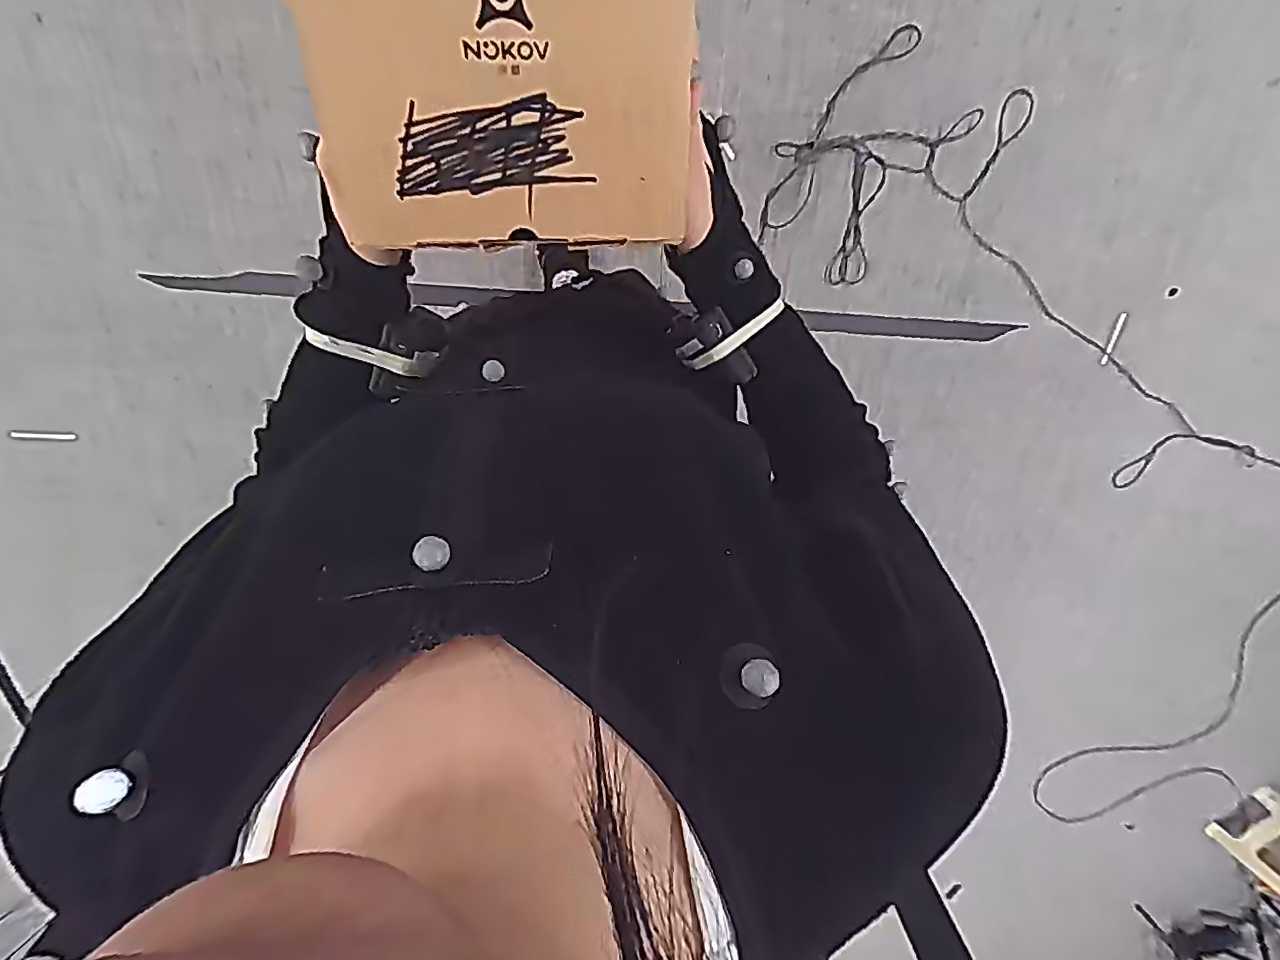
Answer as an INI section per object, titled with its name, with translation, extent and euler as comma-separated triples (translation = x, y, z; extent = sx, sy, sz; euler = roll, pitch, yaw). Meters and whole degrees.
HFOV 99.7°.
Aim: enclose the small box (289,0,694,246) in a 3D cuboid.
[small box]
translation = -0.068, -0.233, 0.291
extent = 0.168, 0.176, 0.179
euler = -4, 121, -7
